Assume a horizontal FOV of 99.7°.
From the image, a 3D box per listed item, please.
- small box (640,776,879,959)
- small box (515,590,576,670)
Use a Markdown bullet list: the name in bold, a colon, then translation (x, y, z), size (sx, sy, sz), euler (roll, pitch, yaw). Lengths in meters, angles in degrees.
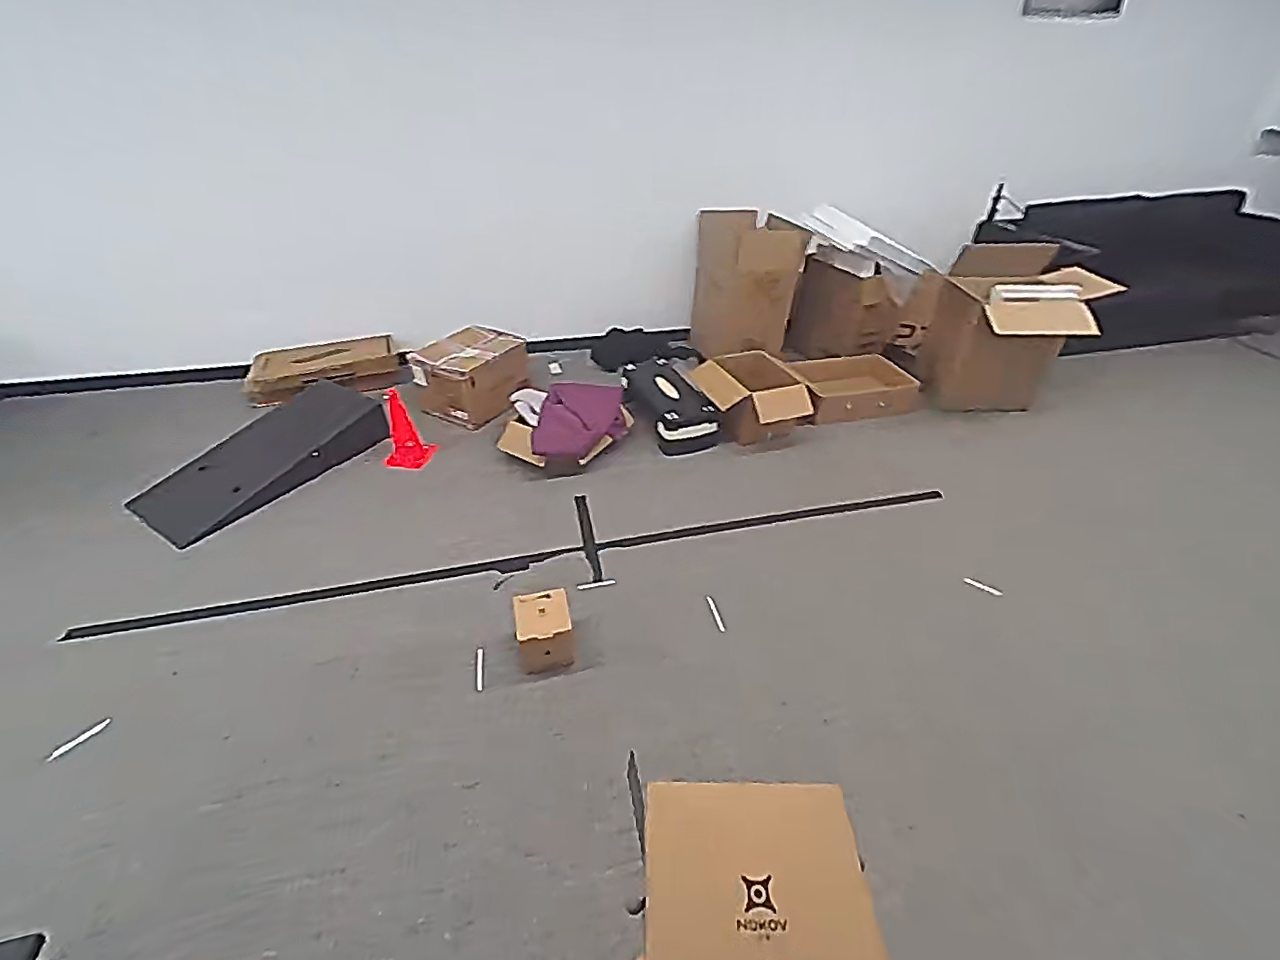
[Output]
- **small box**: translation (0.084, 0.374, 0.447), size (0.168, 0.176, 0.179), euler (0, 37, 1)
- **small box**: translation (-0.301, 0.484, 1.722), size (0.168, 0.176, 0.179), euler (-9, 39, -11)
